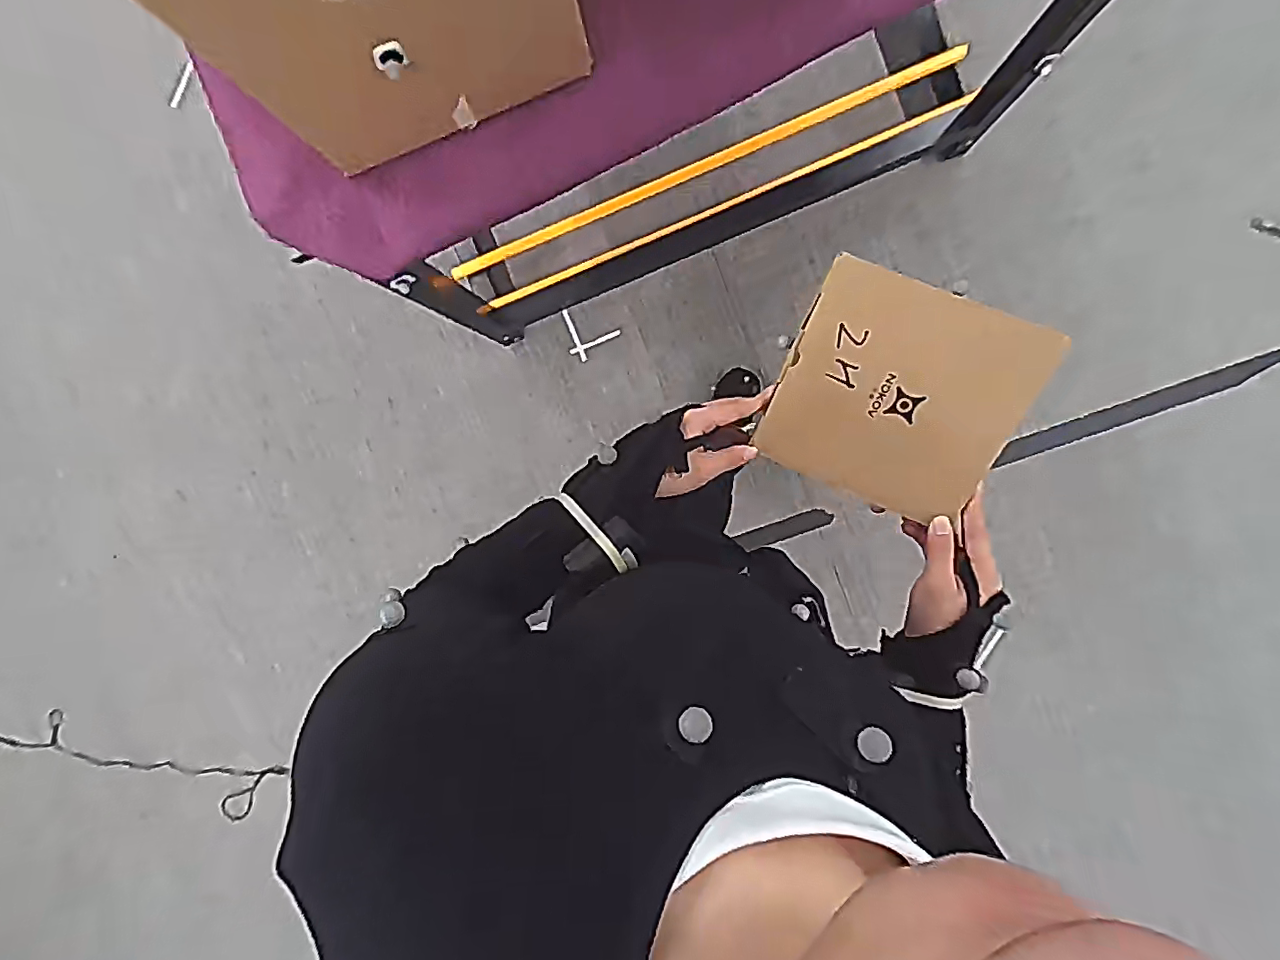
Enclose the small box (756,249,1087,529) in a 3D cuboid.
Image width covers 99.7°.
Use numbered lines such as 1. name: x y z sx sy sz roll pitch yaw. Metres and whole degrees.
1. small box: 0.223 -0.088 0.481 0.179 0.176 0.168 25 112 8
